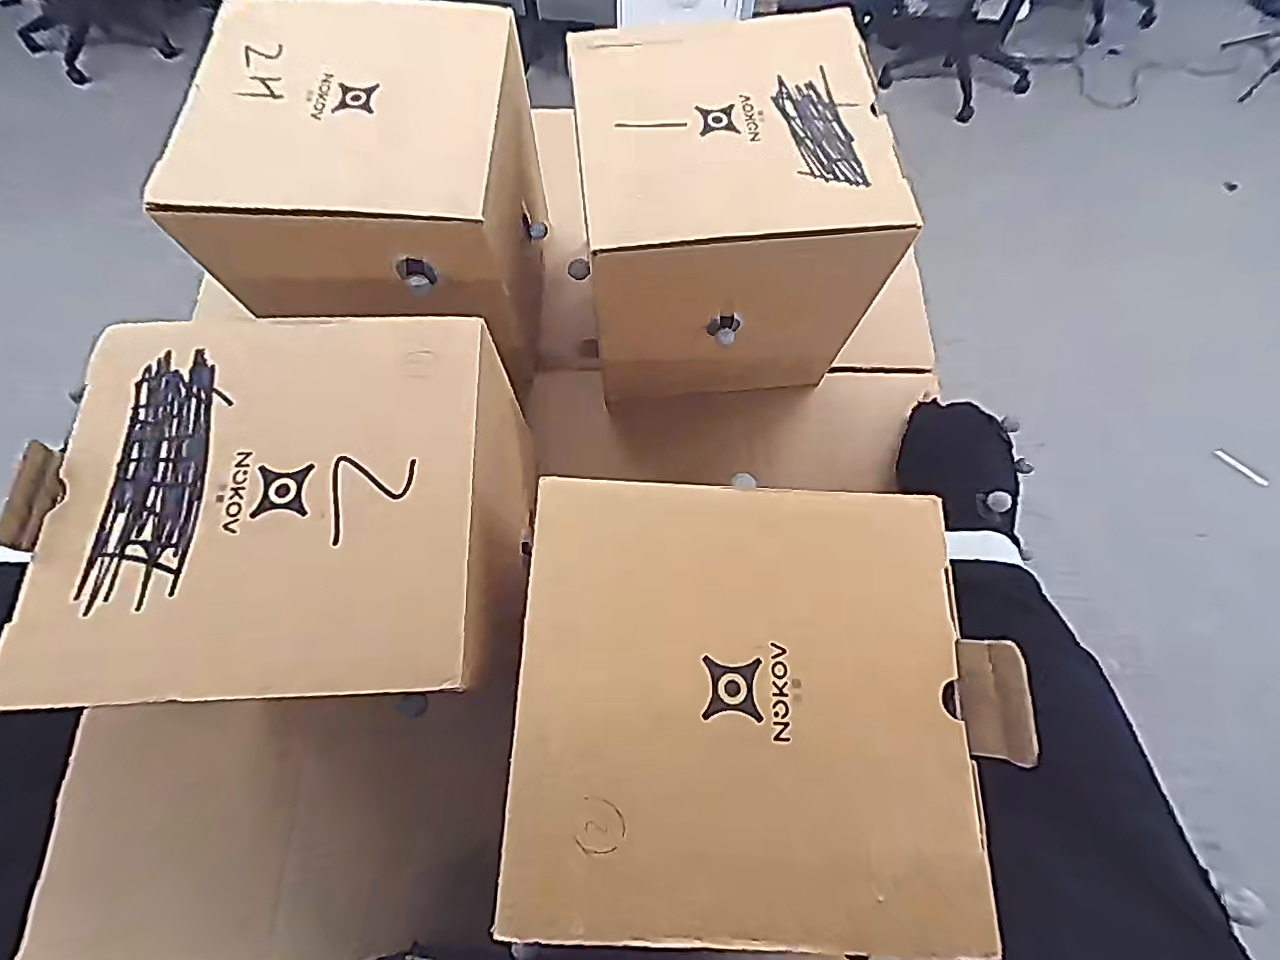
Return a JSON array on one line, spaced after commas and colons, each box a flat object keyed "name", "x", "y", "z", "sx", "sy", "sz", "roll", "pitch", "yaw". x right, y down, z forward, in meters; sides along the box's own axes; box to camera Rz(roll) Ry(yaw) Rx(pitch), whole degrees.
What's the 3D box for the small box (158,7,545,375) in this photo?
[{"name": "small box", "x": -0.170, "y": -0.188, "z": 0.390, "sx": 0.179, "sy": 0.176, "sz": 0.168, "roll": 2, "pitch": 71, "yaw": 0}]
